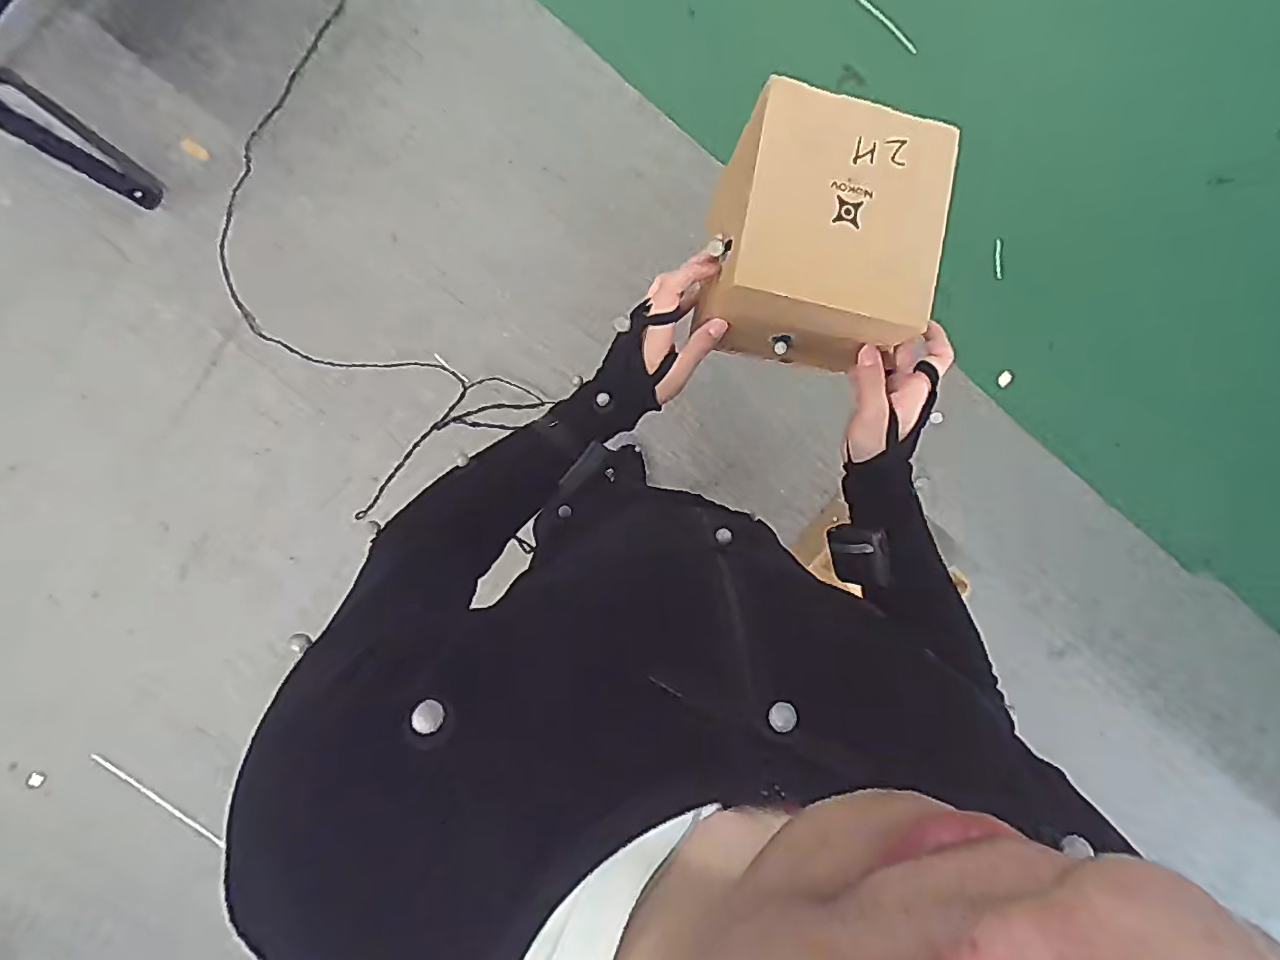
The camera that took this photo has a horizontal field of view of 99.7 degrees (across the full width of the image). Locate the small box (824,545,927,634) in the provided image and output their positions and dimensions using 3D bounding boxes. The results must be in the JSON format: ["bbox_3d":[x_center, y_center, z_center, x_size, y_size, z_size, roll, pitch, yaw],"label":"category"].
[{"bbox_3d":[0.656,0.299,1.532,0.168,0.176,0.179,-38,94,-2],"label":"small box"}]

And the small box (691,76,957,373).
[{"bbox_3d":[0.152,-0.213,0.505,0.168,0.176,0.179,12,86,-7],"label":"small box"}]
